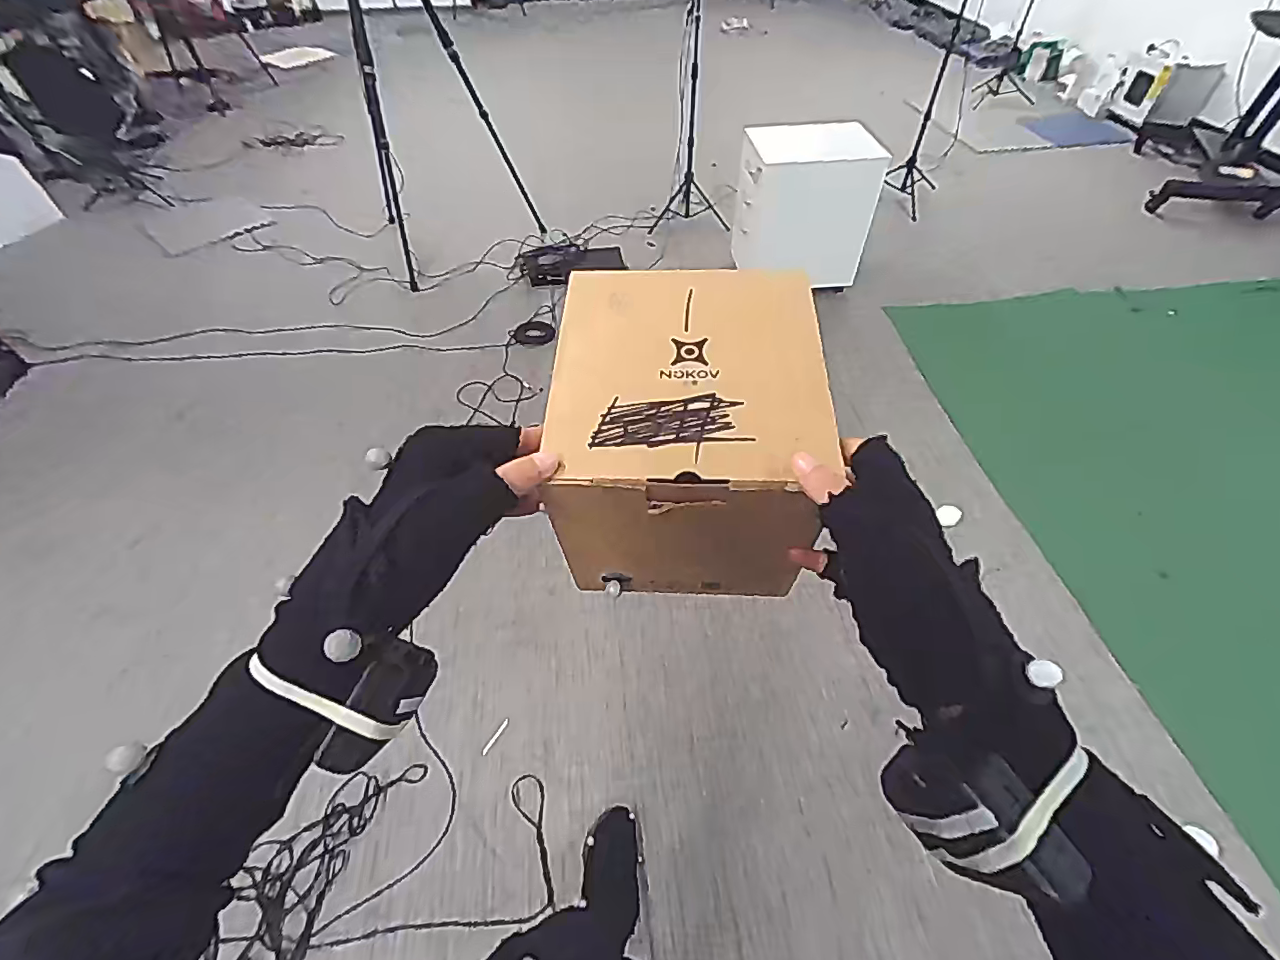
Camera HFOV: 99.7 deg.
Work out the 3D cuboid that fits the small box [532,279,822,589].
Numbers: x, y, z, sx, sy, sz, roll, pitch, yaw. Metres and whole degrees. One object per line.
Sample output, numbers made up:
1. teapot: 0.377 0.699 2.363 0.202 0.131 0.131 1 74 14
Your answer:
1. small box: 0.028 -0.026 0.409 0.168 0.176 0.179 1 58 4
